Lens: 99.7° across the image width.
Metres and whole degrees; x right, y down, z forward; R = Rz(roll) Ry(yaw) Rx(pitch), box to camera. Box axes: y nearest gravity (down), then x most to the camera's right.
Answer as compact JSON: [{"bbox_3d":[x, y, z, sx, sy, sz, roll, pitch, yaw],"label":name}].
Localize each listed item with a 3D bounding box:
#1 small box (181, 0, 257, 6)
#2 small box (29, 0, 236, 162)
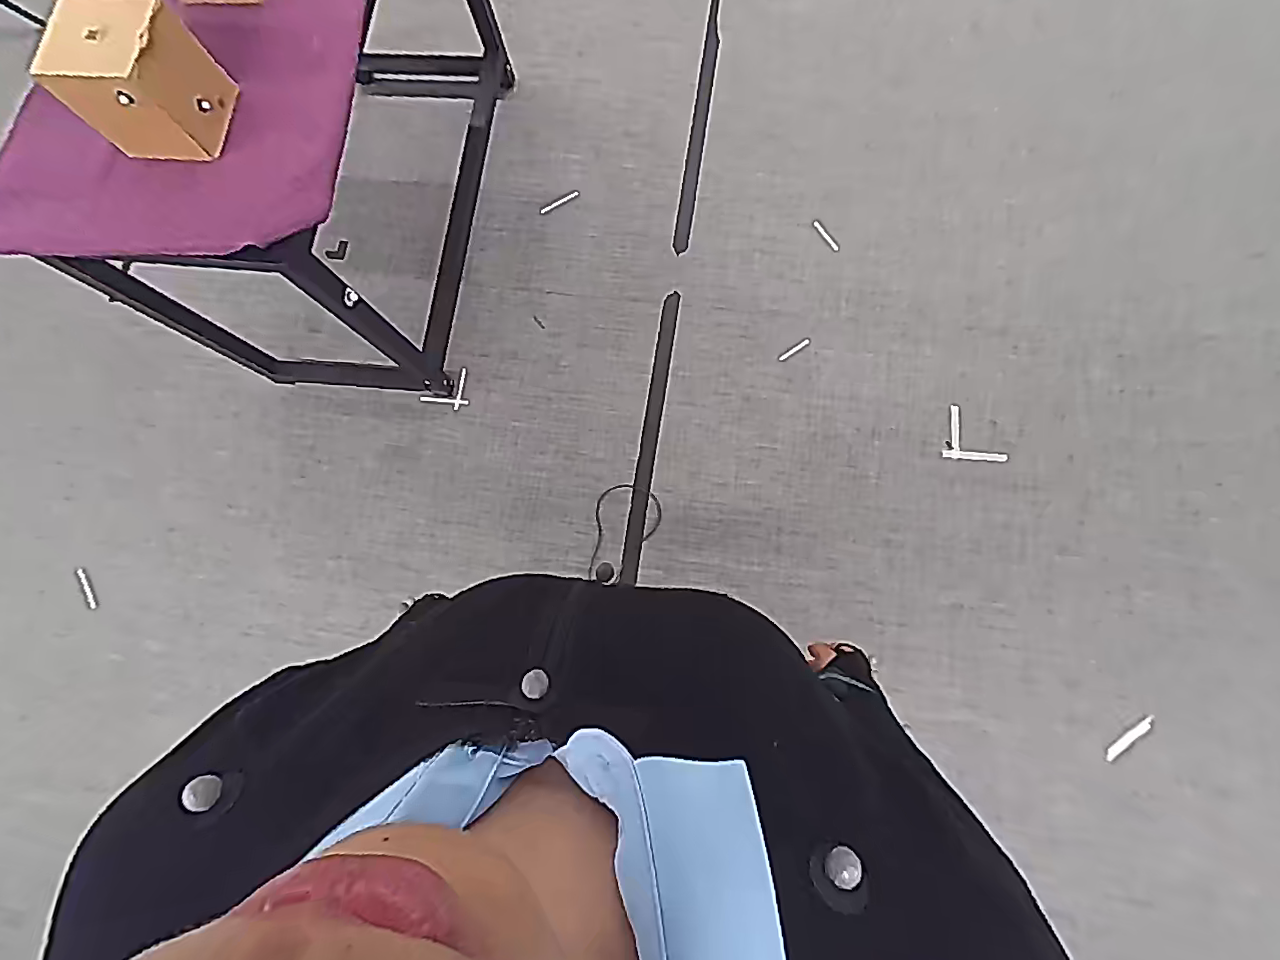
[{"bbox_3d":[-0.825,-1.029,1.002,0.179,0.176,0.168,5,80,4],"label":"small box"},{"bbox_3d":[-0.860,-0.683,0.935,0.179,0.176,0.168,4,78,4],"label":"small box"}]
